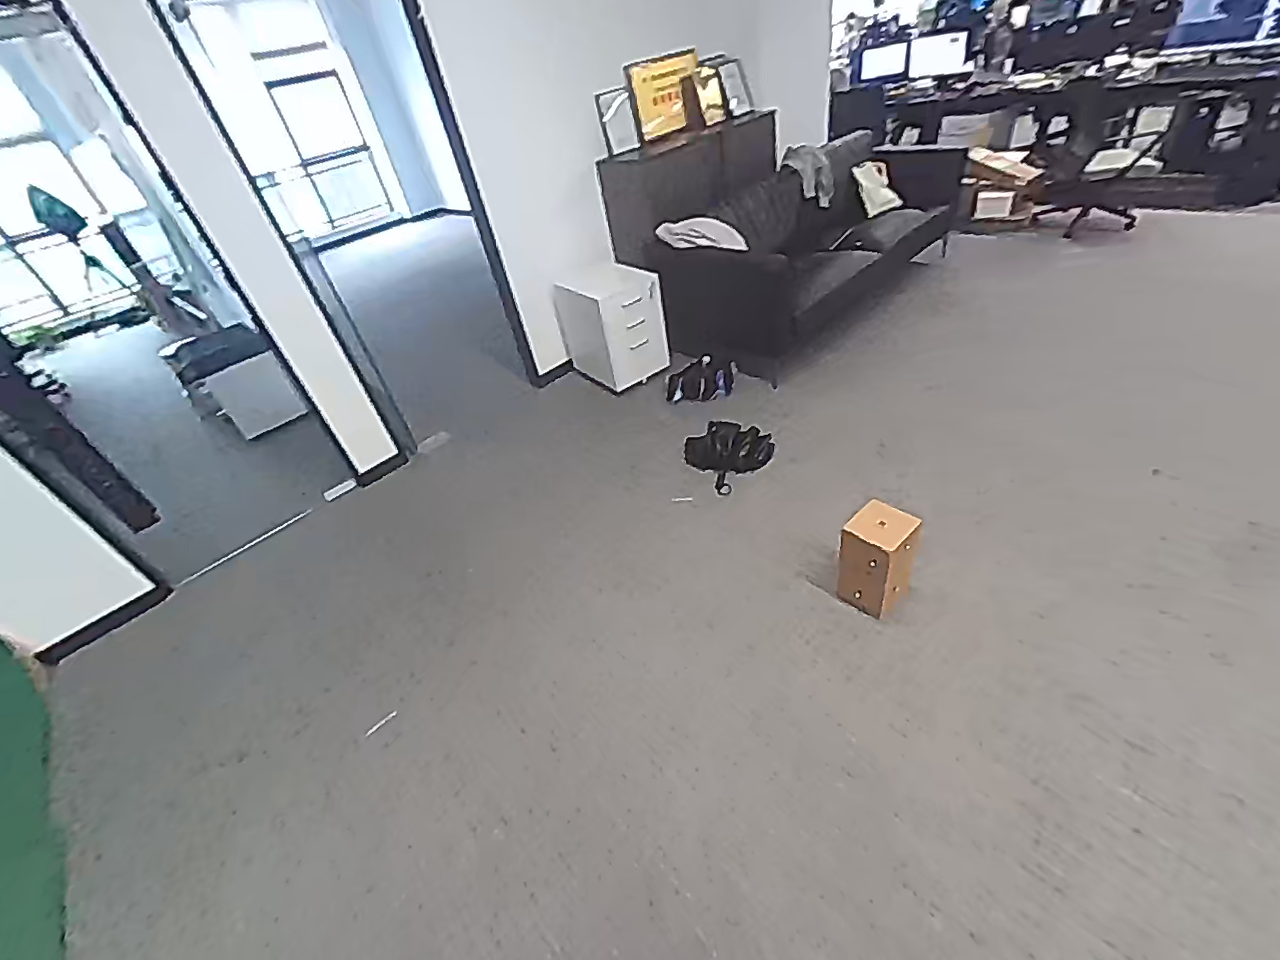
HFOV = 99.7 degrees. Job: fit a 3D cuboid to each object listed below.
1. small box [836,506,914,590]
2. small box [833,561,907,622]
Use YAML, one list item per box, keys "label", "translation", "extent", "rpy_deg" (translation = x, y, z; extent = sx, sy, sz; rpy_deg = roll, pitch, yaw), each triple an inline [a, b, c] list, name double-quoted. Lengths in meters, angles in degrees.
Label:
- label: "small box"
  translation: [0.747, 0.219, 1.731]
  extent: [0.179, 0.176, 0.168]
  rpy_deg: [-34, 44, -28]
- label: "small box"
  translation: [0.775, 0.345, 1.831]
  extent: [0.179, 0.176, 0.168]
  rpy_deg: [-35, 43, -26]
